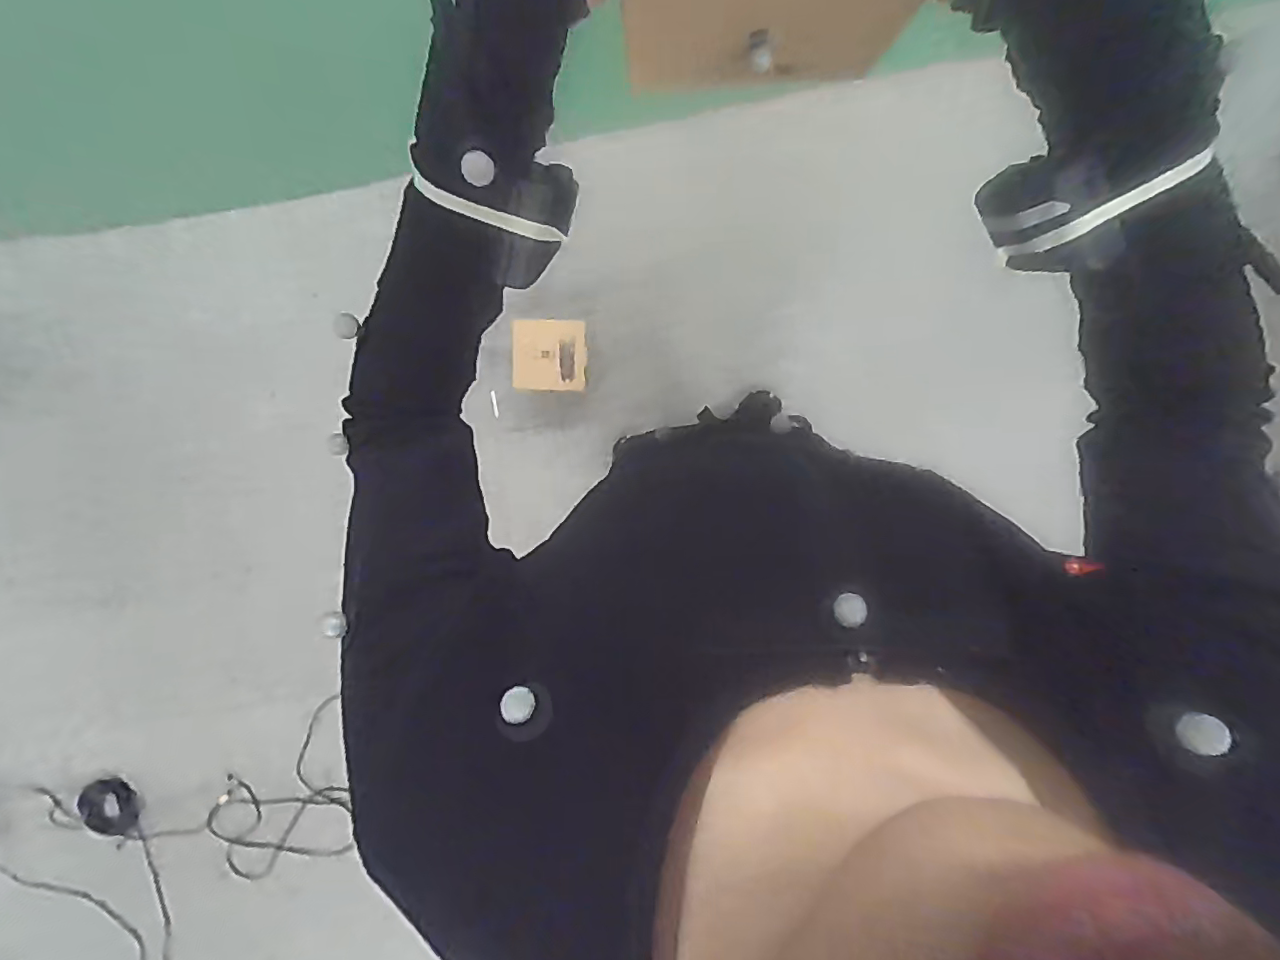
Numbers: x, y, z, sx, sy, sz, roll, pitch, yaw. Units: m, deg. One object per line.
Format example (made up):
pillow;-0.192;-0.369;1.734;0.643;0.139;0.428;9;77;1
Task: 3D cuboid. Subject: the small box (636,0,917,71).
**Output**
small box;0.076;-0.349;0.272;0.168;0.176;0.179;1;102;3
